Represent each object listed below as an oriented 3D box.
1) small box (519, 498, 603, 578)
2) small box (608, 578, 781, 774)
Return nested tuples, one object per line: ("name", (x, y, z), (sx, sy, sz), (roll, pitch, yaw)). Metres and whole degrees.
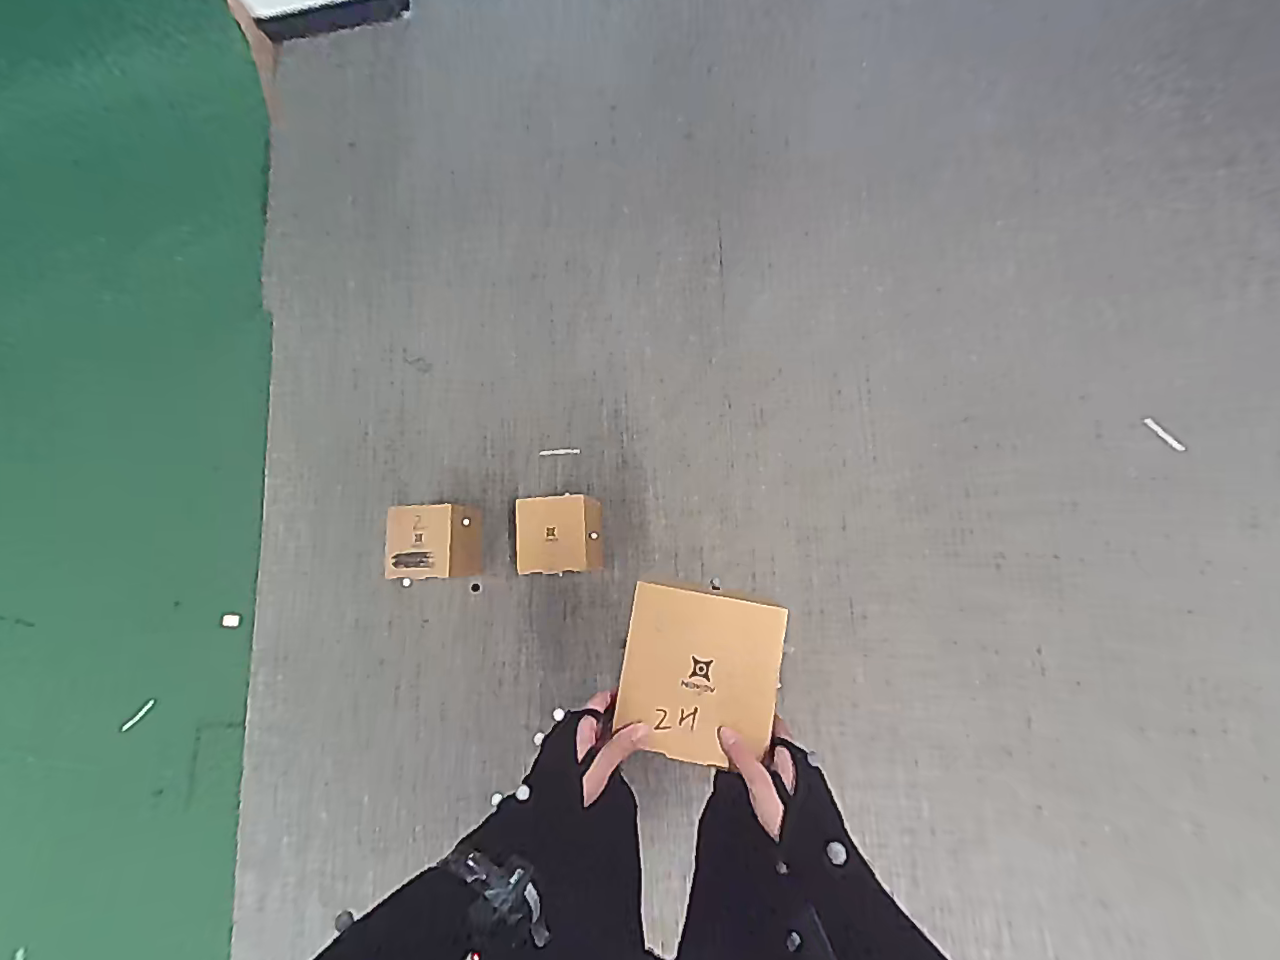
("small box", (-0.188, 0.144, 1.321), (0.168, 0.176, 0.179), (-5, 83, 8))
("small box", (0.067, 0.219, 0.659), (0.168, 0.176, 0.179), (9, 84, 8))
